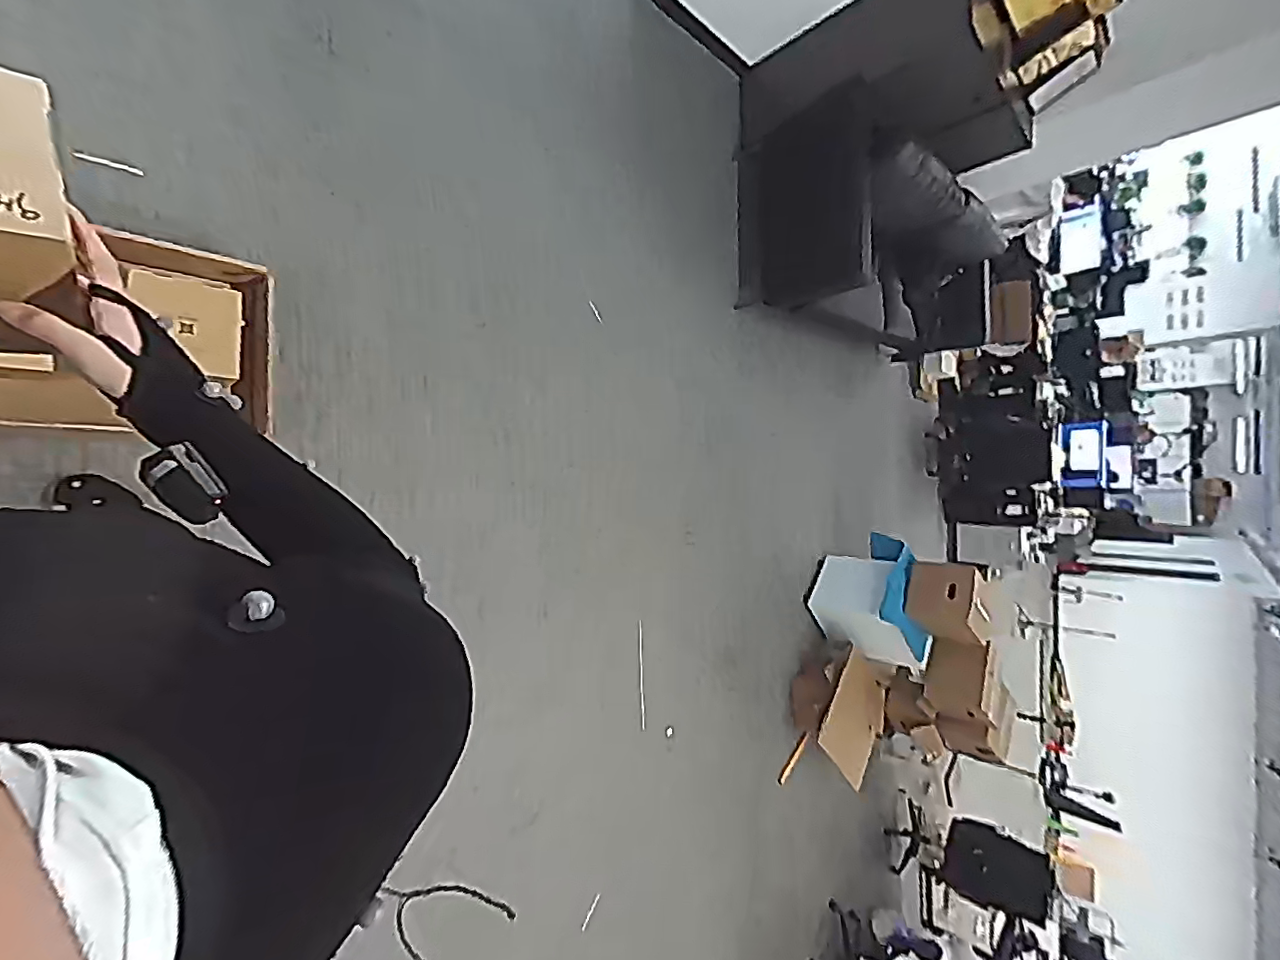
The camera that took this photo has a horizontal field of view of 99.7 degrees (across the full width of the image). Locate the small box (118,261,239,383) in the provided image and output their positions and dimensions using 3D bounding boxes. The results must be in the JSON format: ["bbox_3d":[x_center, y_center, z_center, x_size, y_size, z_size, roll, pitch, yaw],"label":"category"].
[{"bbox_3d":[-0.908,-0.298,1.063,0.168,0.176,0.179,2,89,-44],"label":"small box"}]

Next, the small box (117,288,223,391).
[{"bbox_3d":[-1.023,-0.294,1.179,0.168,0.176,0.179,-2,91,-45],"label":"small box"}]

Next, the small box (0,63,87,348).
[{"bbox_3d":[-0.593,-0.236,0.452,0.168,0.176,0.179,-10,73,-46],"label":"small box"}]

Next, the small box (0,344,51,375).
[{"bbox_3d":[-1.204,-0.294,0.990,0.168,0.176,0.179,-2,92,-47],"label":"small box"}]
